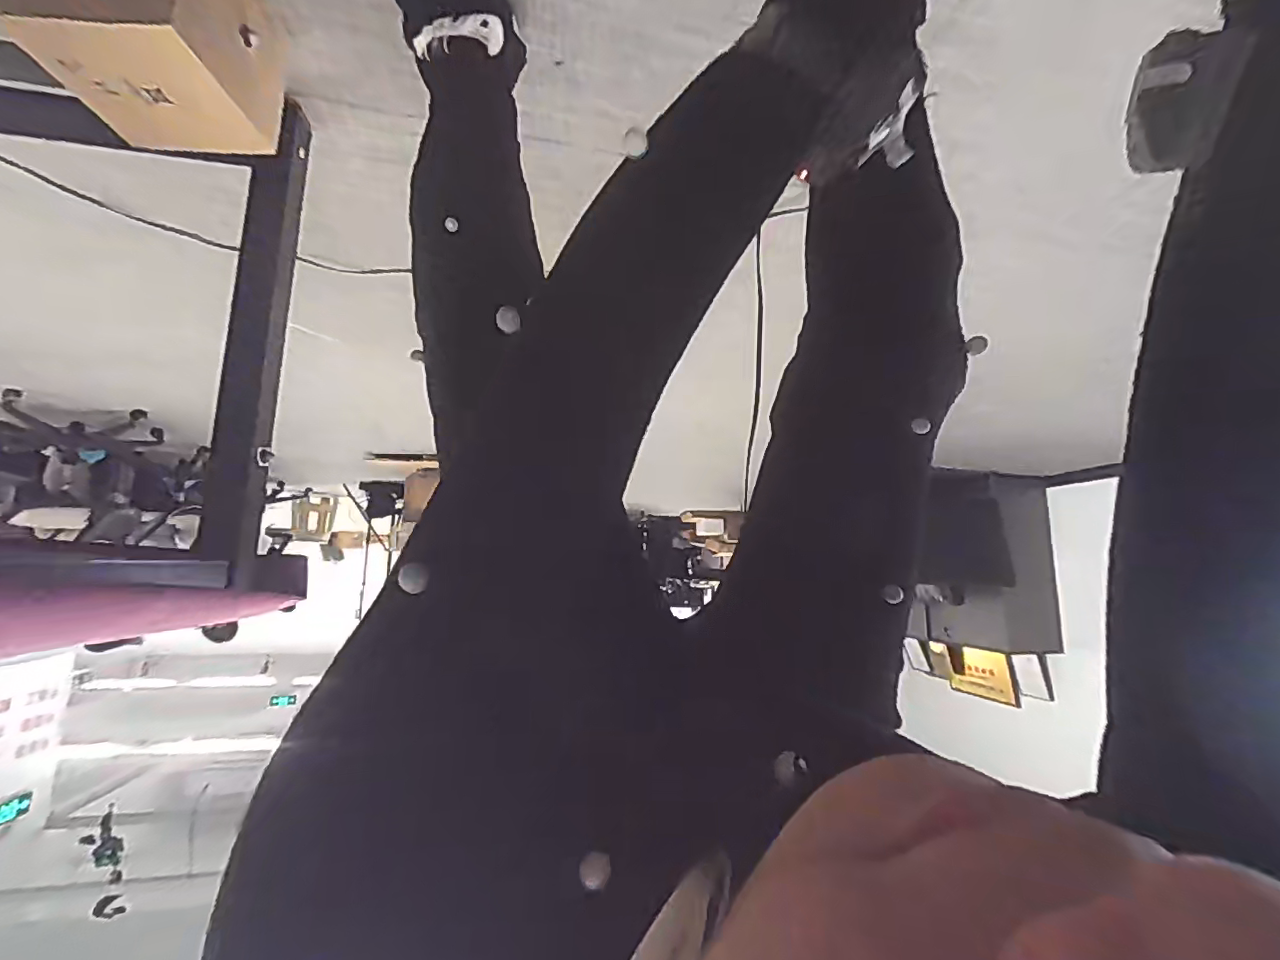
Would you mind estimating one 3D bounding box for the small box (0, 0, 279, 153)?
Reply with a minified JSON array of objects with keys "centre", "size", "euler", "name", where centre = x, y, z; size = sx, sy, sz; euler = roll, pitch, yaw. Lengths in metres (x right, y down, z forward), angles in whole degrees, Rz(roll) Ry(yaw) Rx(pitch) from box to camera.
[{"centre":[-0.525,-0.493,0.587],"size":[0.179,0.176,0.168],"euler":[2,170,-3],"name":"small box"}]
